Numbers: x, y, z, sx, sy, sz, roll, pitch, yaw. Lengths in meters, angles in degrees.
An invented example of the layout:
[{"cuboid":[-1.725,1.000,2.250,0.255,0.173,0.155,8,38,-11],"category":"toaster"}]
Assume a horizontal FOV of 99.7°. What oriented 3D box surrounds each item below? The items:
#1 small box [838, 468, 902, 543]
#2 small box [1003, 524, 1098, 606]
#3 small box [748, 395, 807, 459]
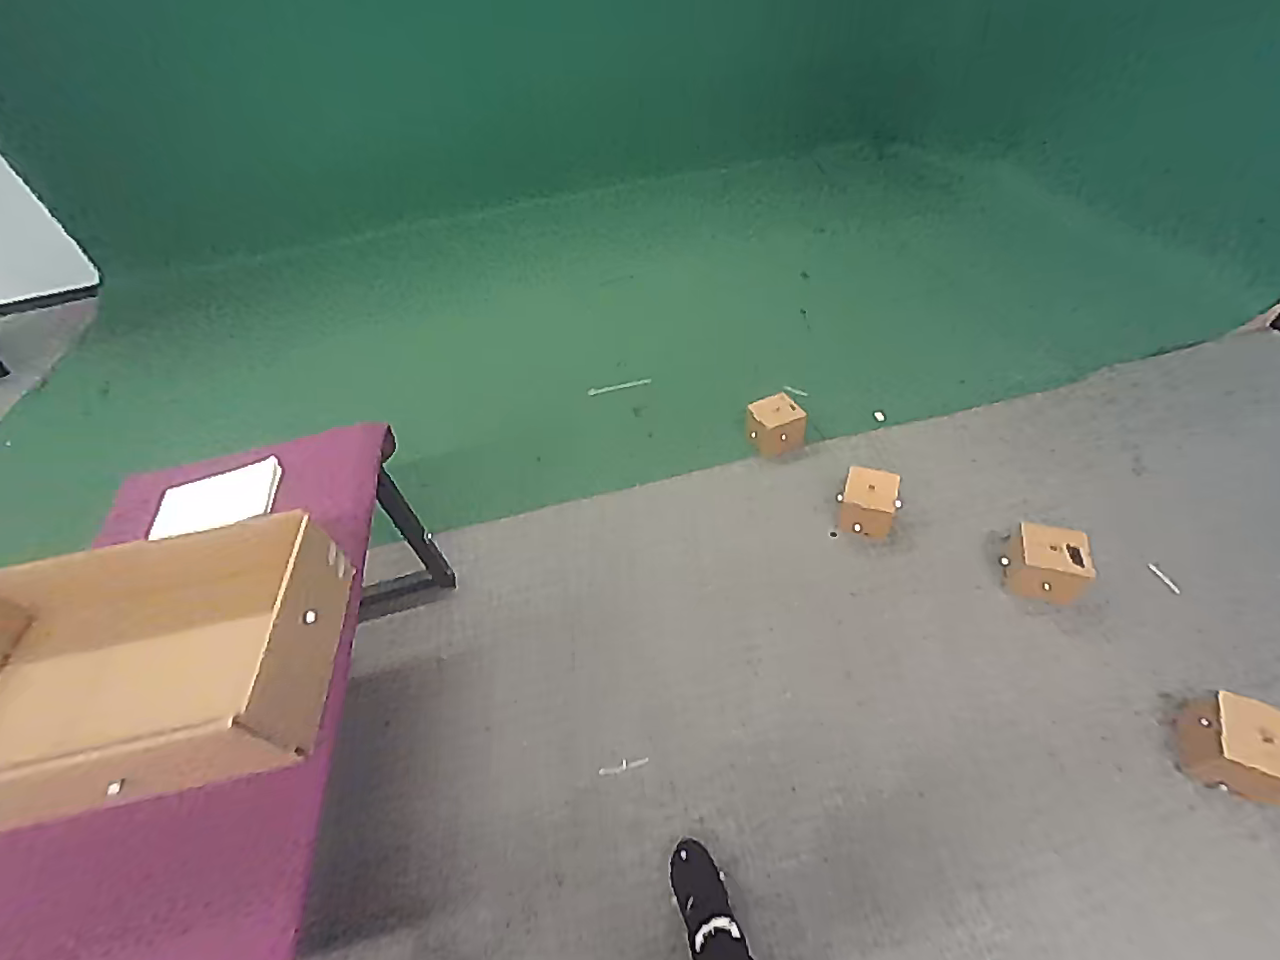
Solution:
[{"cuboid":[0.799,0.089,1.886,0.168,0.176,0.179,14,52,20],"category":"small box"},{"cuboid":[1.247,0.263,1.655,0.179,0.176,0.168,11,50,18],"category":"small box"},{"cuboid":[0.554,-0.210,2.196,0.179,0.176,0.168,-22,48,-11],"category":"small box"}]
